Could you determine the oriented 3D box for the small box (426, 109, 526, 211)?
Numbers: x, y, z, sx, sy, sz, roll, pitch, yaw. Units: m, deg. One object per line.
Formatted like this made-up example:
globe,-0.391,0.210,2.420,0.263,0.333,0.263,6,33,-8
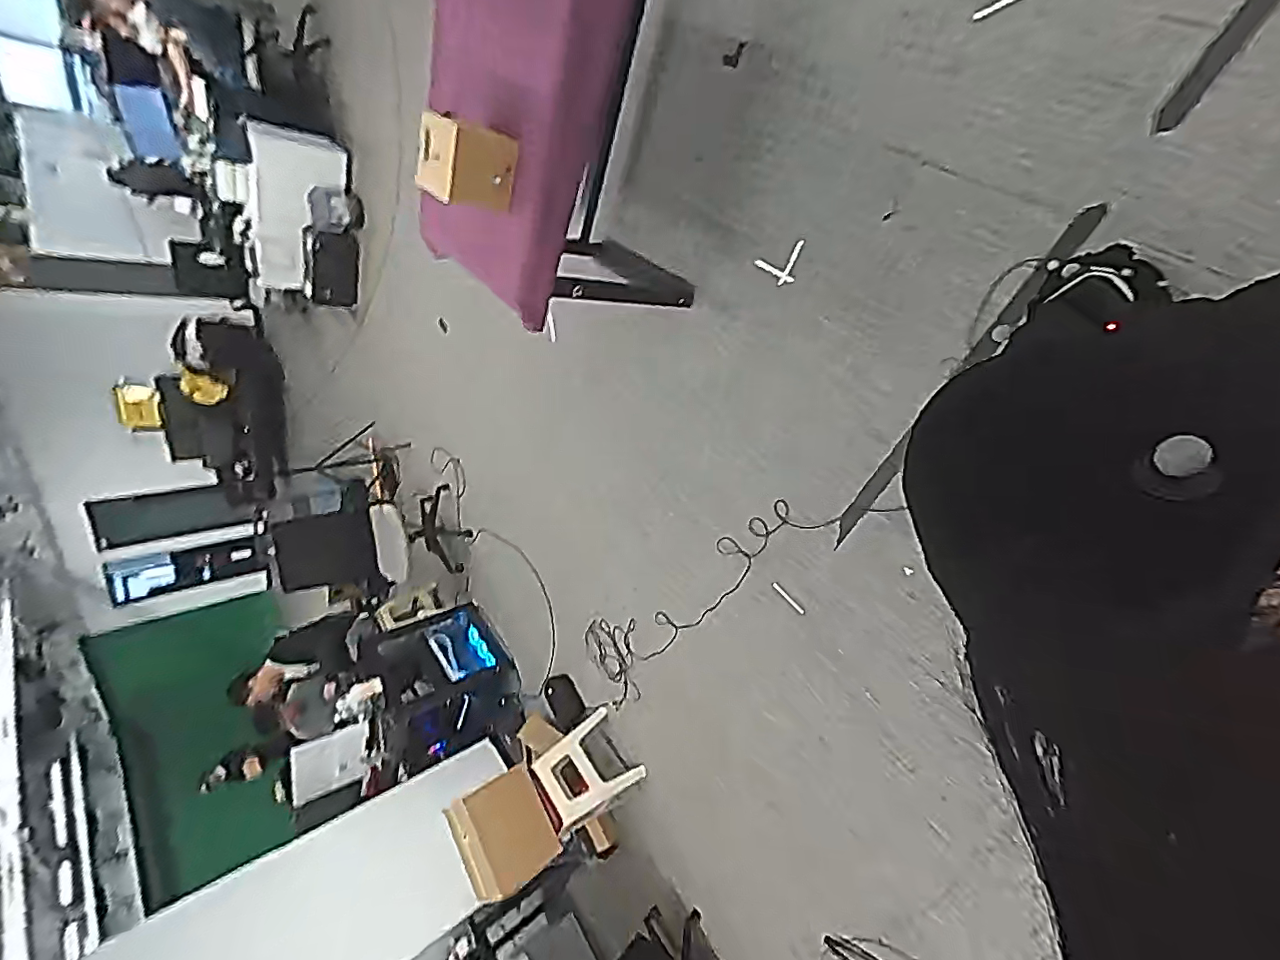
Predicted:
small box,-0.409,-0.788,1.343,0.179,0.176,0.168,42,128,32
